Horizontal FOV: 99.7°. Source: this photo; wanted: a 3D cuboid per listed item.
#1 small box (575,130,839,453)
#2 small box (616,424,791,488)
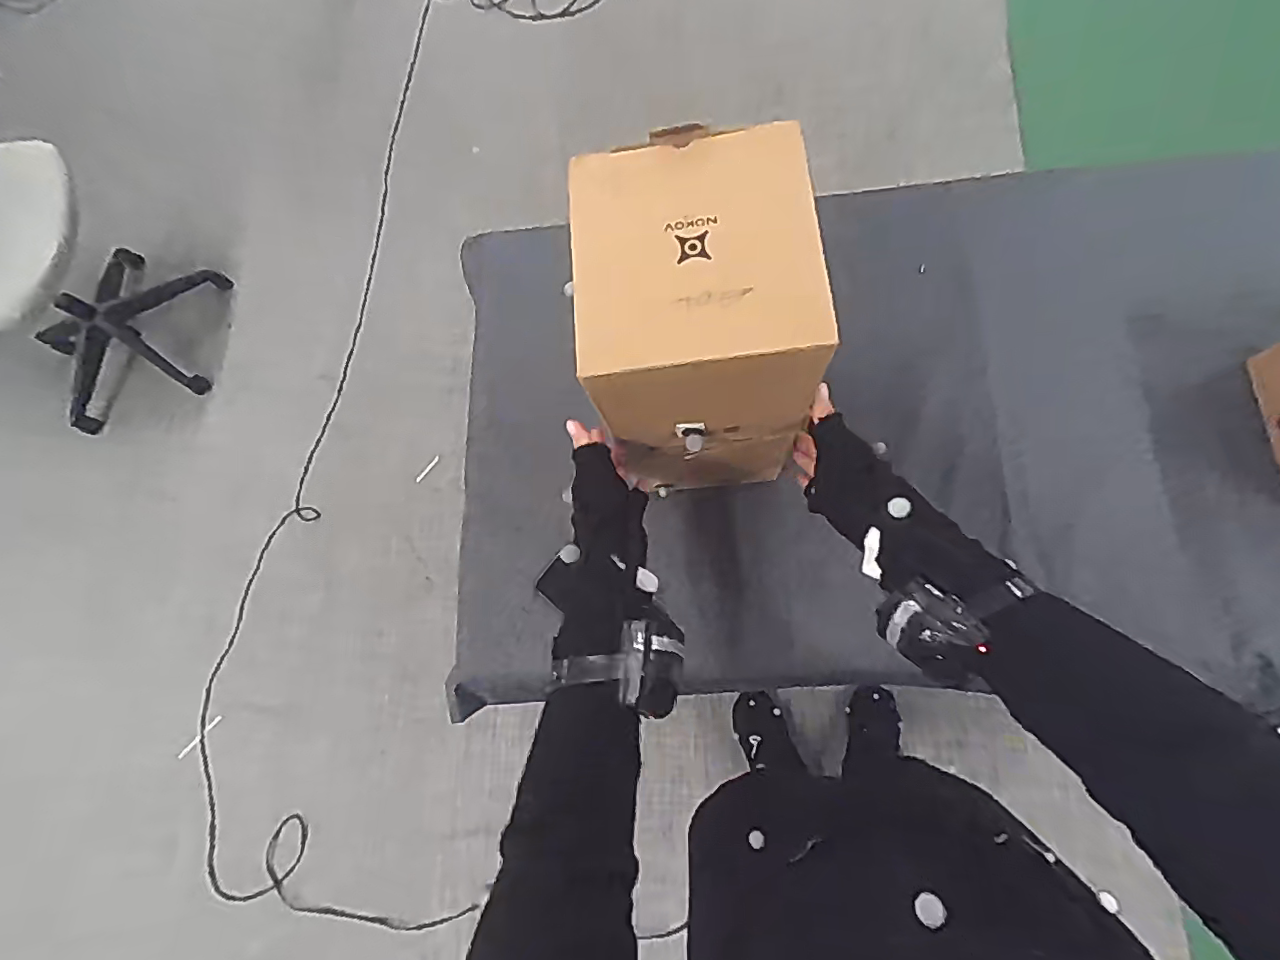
[{"bbox_3d":[0.048,-0.135,0.443,0.168,0.176,0.179,-7,76,6],"label":"small box"},{"bbox_3d":[0.065,-0.094,0.598,0.168,0.176,0.179,-6,74,6],"label":"small box"}]
